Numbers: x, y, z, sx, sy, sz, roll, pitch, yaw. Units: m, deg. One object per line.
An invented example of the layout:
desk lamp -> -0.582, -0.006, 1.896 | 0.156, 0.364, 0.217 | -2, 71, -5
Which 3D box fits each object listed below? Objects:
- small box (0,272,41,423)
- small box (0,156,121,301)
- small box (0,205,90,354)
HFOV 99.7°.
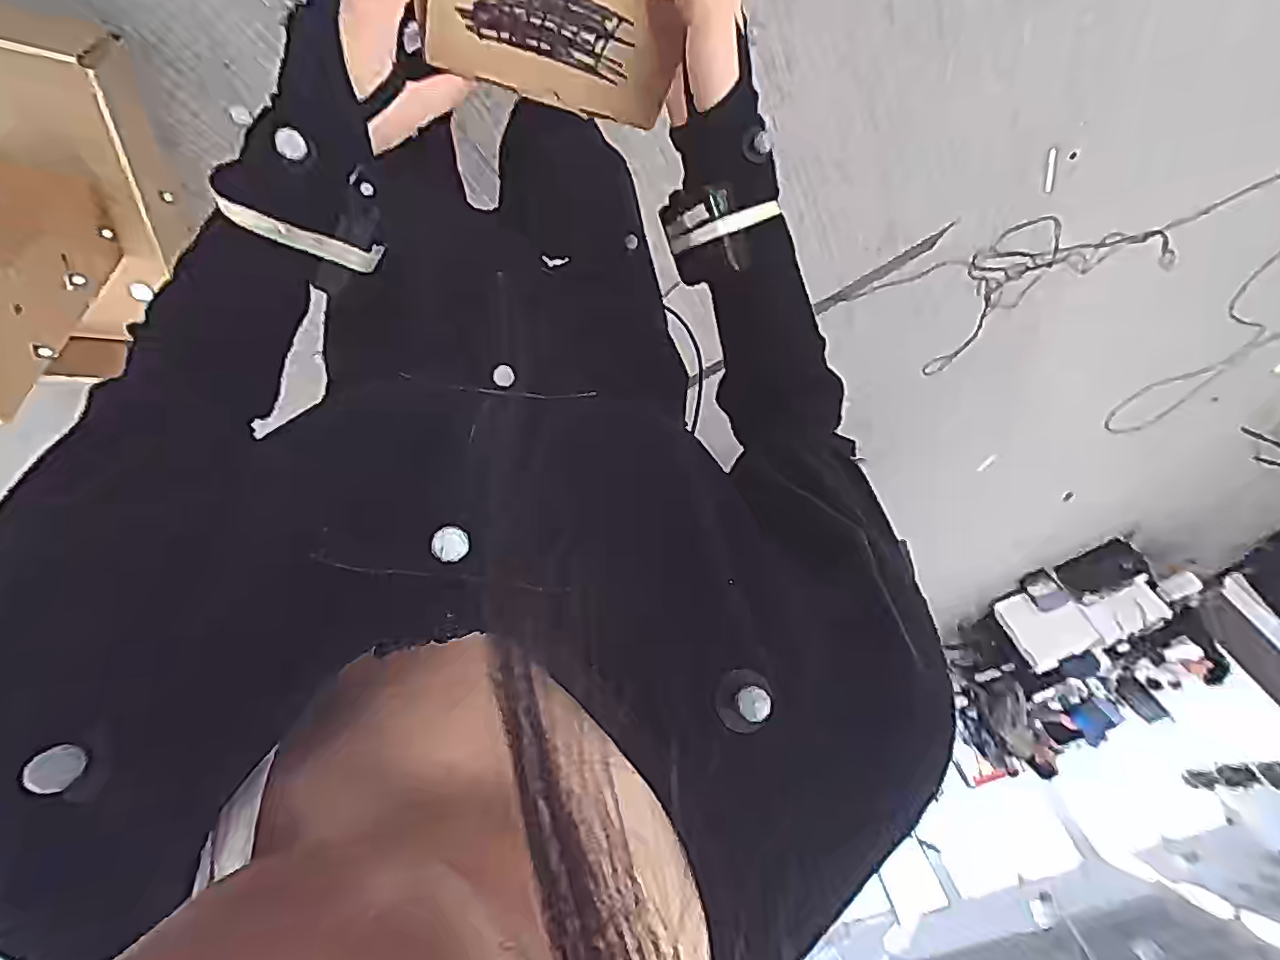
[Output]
small box -> -1.004, -0.199, 0.754 | 0.179, 0.176, 0.168 | 2, 139, -22
small box -> -1.078, -0.446, 0.954 | 0.179, 0.176, 0.168 | 2, 139, -25
small box -> -1.039, -0.325, 0.855 | 0.179, 0.176, 0.168 | 1, 140, -24
